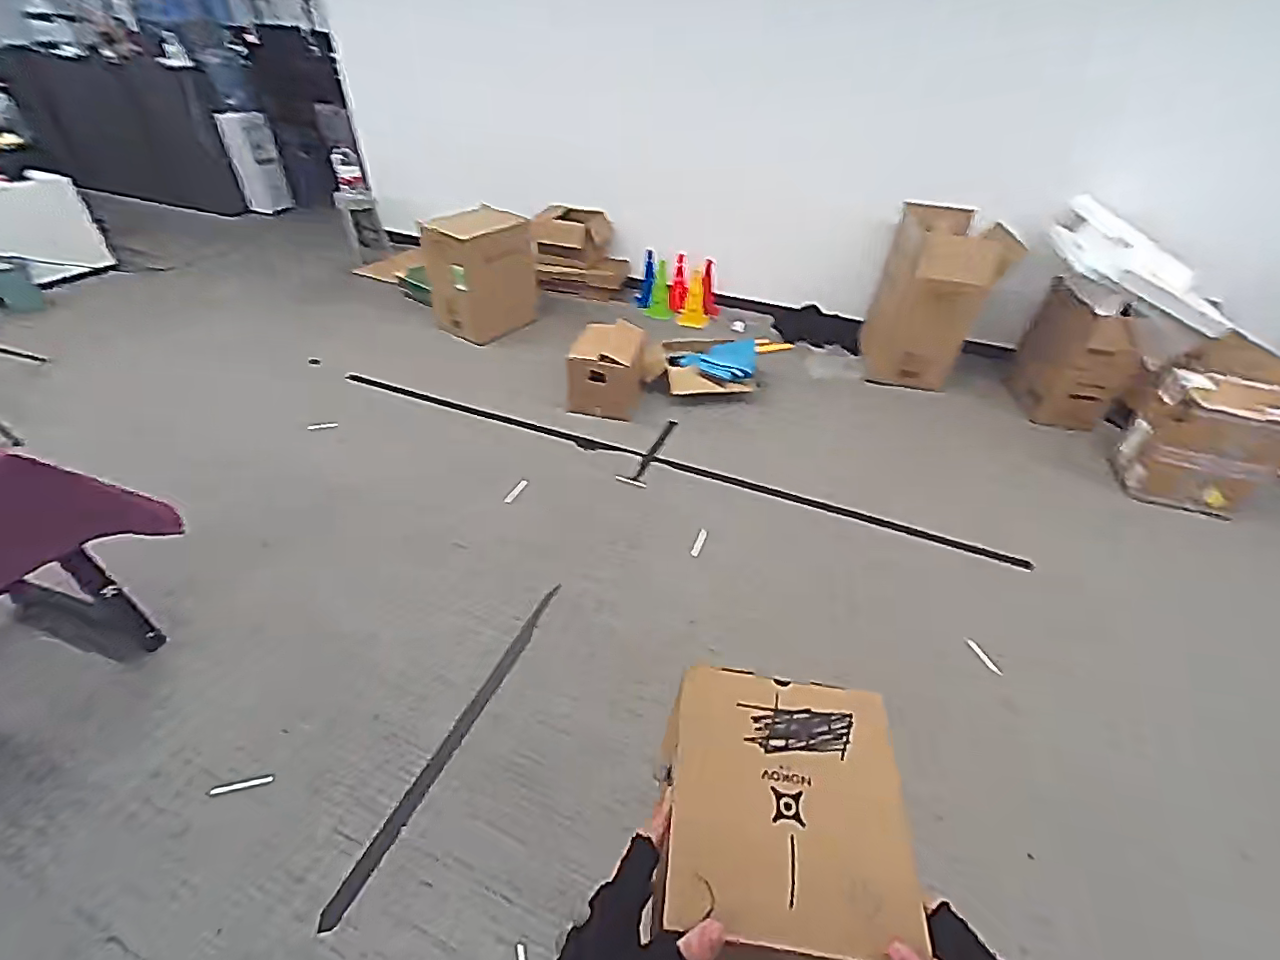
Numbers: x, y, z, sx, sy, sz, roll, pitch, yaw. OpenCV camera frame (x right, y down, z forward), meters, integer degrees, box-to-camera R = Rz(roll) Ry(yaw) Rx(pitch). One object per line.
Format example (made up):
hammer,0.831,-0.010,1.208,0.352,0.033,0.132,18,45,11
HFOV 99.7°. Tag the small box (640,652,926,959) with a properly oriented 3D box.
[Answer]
small box,0.093,0.268,0.436,0.168,0.176,0.179,7,44,3
